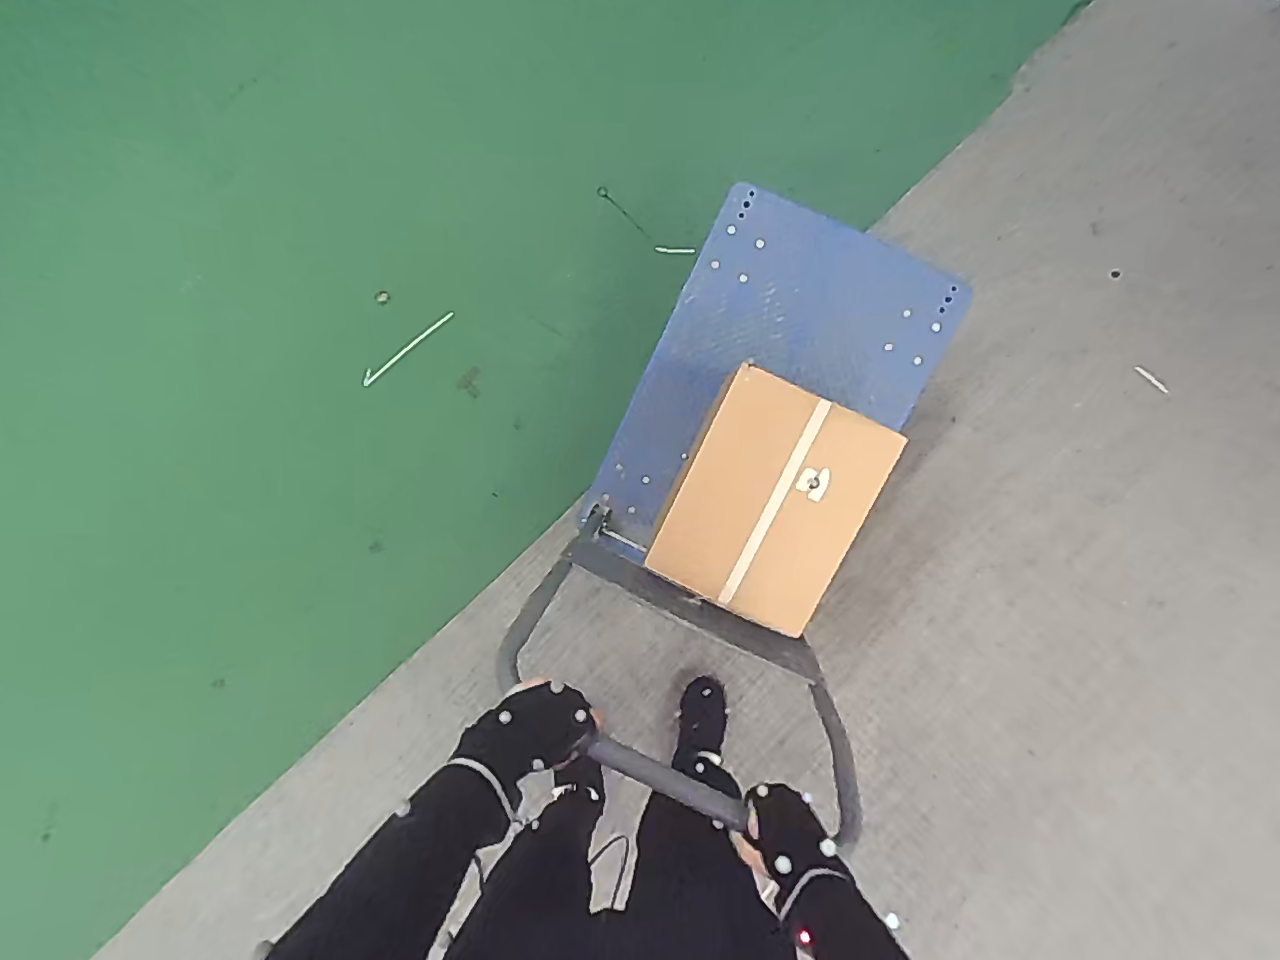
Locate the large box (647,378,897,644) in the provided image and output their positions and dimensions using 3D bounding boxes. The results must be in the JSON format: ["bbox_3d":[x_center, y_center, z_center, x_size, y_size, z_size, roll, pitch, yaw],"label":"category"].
[{"bbox_3d":[0.242,0.048,1.116,0.320,0.320,0.408,26,98,1],"label":"large box"}]
